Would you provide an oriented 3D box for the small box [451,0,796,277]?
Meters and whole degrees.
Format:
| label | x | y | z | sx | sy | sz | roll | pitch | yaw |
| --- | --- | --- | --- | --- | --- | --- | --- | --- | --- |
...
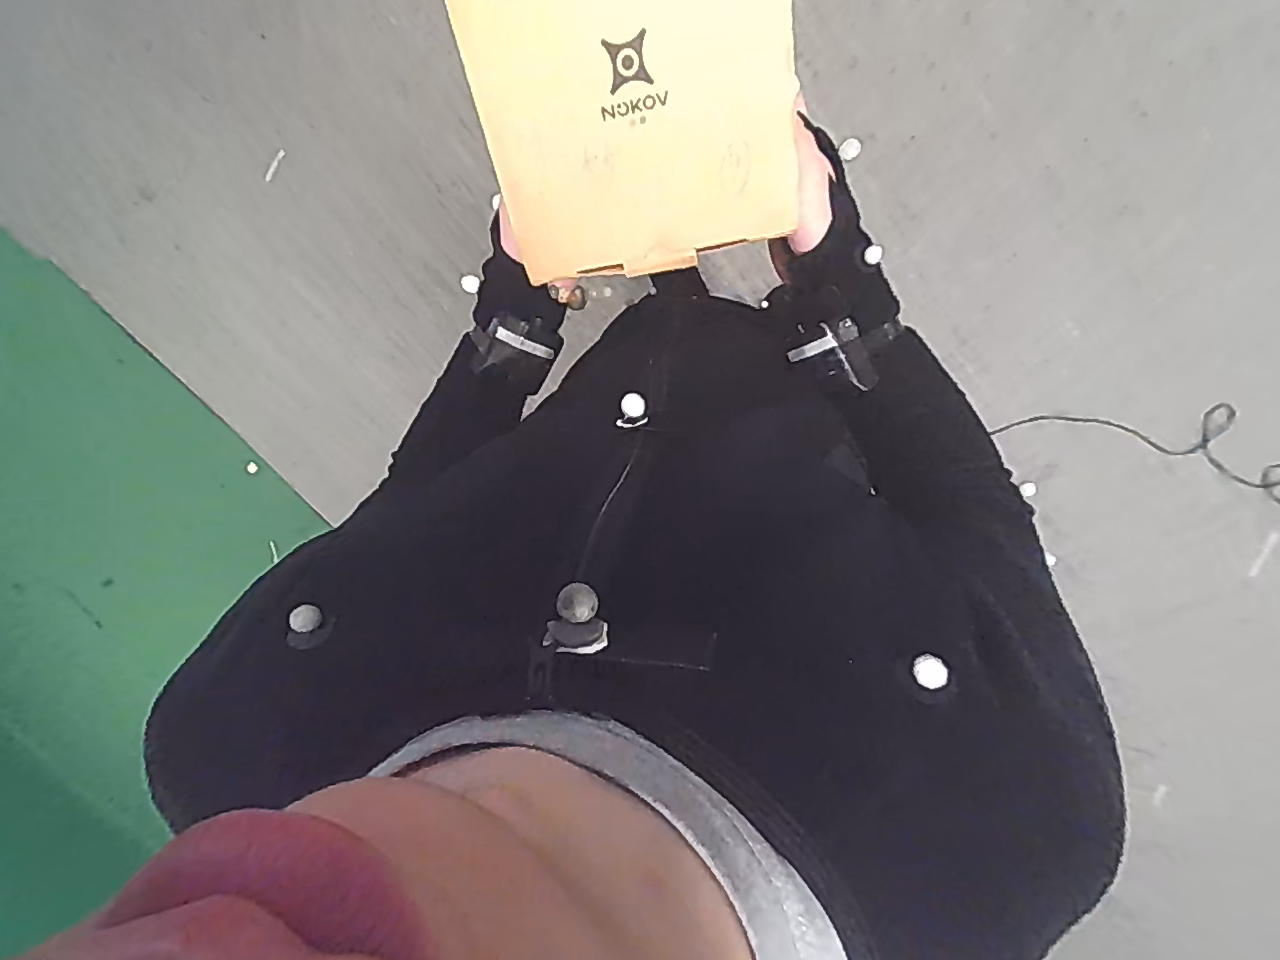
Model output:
| label | x | y | z | sx | sy | sz | roll | pitch | yaw |
| --- | --- | --- | --- | --- | --- | --- | --- | --- | --- |
| small box | 0.003 | -0.250 | 0.342 | 0.168 | 0.176 | 0.179 | -7 | 123 | 10 |
